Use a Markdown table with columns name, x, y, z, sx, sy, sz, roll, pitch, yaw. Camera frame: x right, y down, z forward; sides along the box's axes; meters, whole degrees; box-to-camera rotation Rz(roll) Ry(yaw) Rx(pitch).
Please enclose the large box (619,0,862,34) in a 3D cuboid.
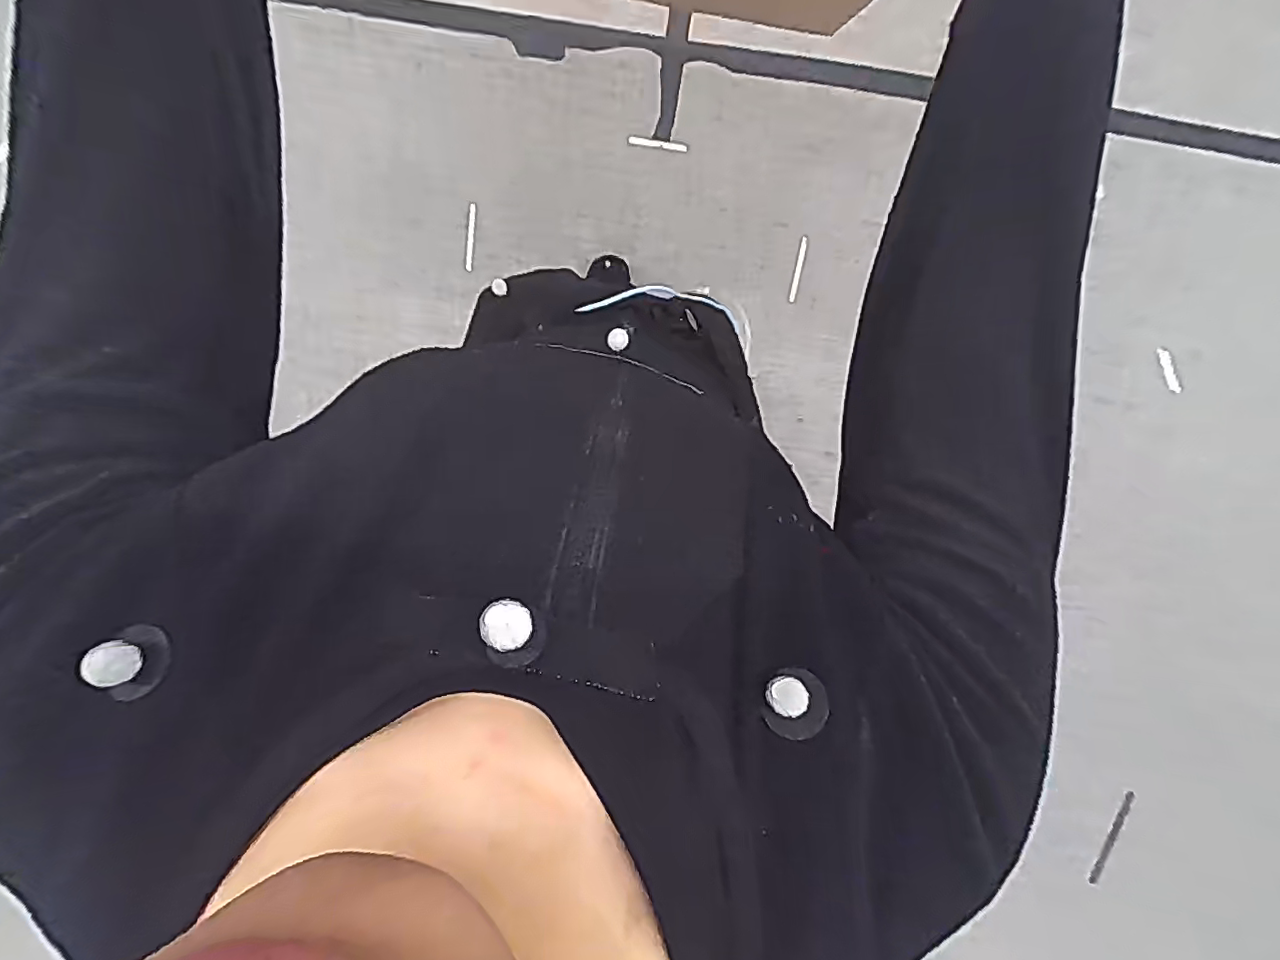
| name | x | y | z | sx | sy | sz | roll | pitch | yaw |
| --- | --- | --- | --- | --- | --- | --- | --- | --- | --- |
| large box | 0.027 | -0.573 | 0.382 | 0.408 | 0.320 | 0.320 | 7 | 120 | -4 |
